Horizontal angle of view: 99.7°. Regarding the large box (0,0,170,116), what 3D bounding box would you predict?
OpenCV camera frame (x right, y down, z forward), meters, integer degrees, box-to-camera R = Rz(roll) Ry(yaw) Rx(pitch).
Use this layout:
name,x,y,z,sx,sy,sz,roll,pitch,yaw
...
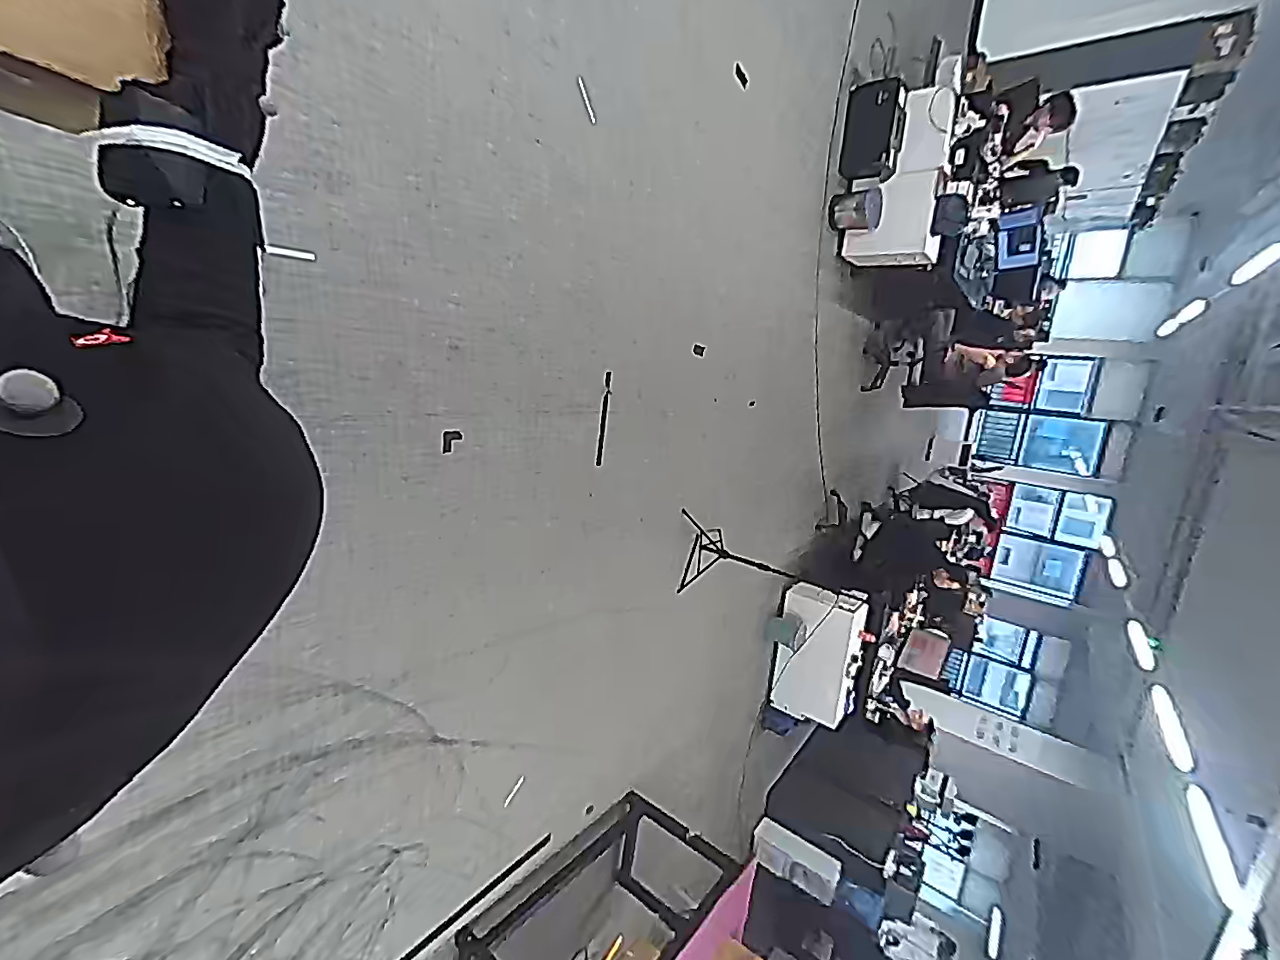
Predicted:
name,x,y,z,sx,sy,sz,roll,pitch,yaw
large box,-0.543,-0.454,0.277,0.408,0.320,0.320,-5,113,-55
